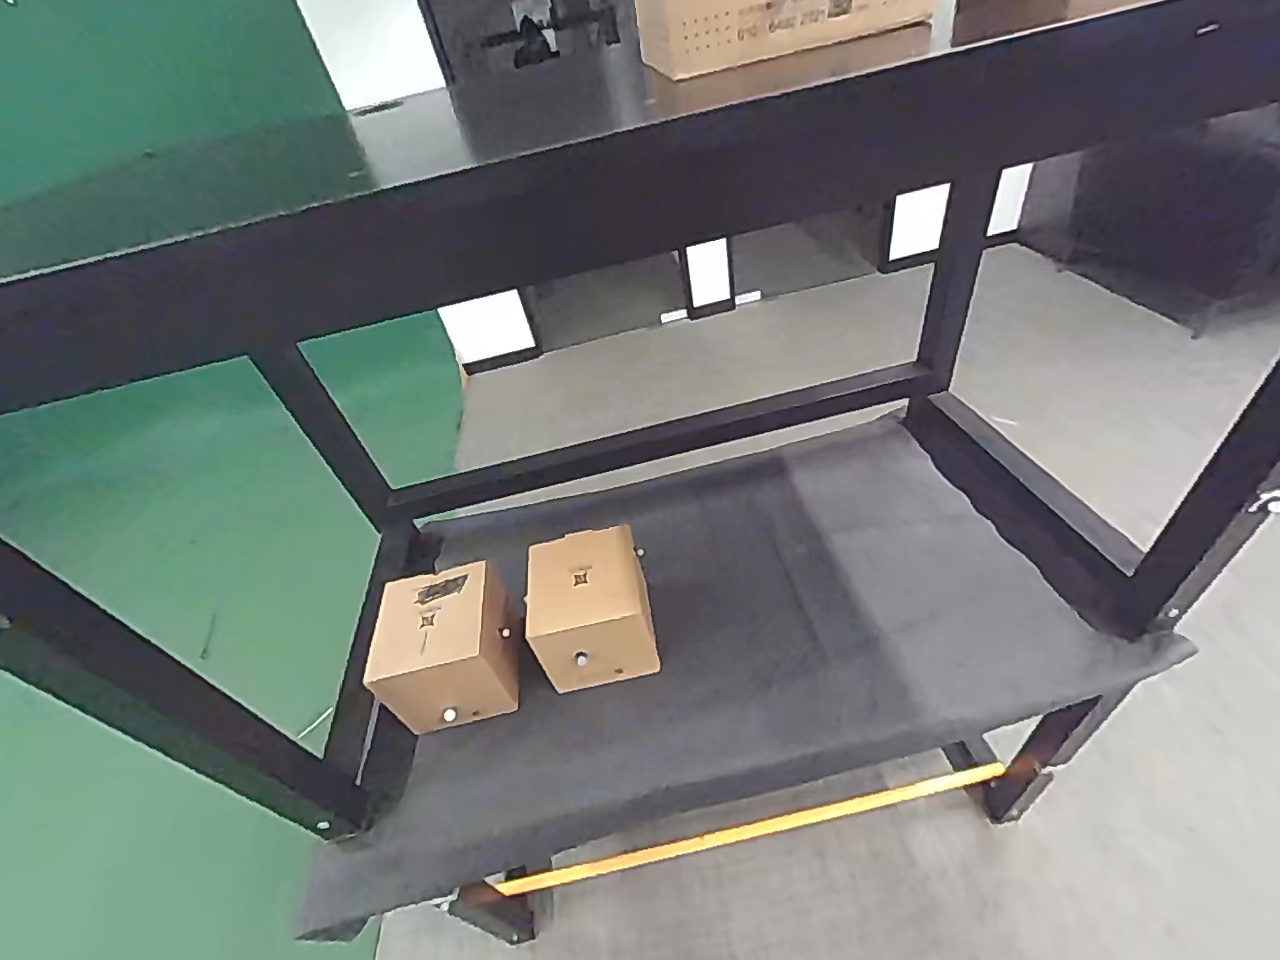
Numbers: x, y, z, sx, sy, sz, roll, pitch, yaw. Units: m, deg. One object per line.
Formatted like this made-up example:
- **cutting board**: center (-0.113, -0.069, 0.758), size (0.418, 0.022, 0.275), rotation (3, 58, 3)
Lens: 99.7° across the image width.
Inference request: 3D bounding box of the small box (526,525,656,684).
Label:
- **small box**: center (-0.075, 0.204, 0.863), size (0.168, 0.176, 0.179), rotation (-12, 40, 1)

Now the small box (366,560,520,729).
- **small box**: center (-0.295, 0.259, 0.854), size (0.168, 0.176, 0.179), rotation (-13, 41, 0)

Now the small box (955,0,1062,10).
- **small box**: center (0.323, -0.415, 0.331), size (0.168, 0.176, 0.179), rotation (-6, 41, 8)
